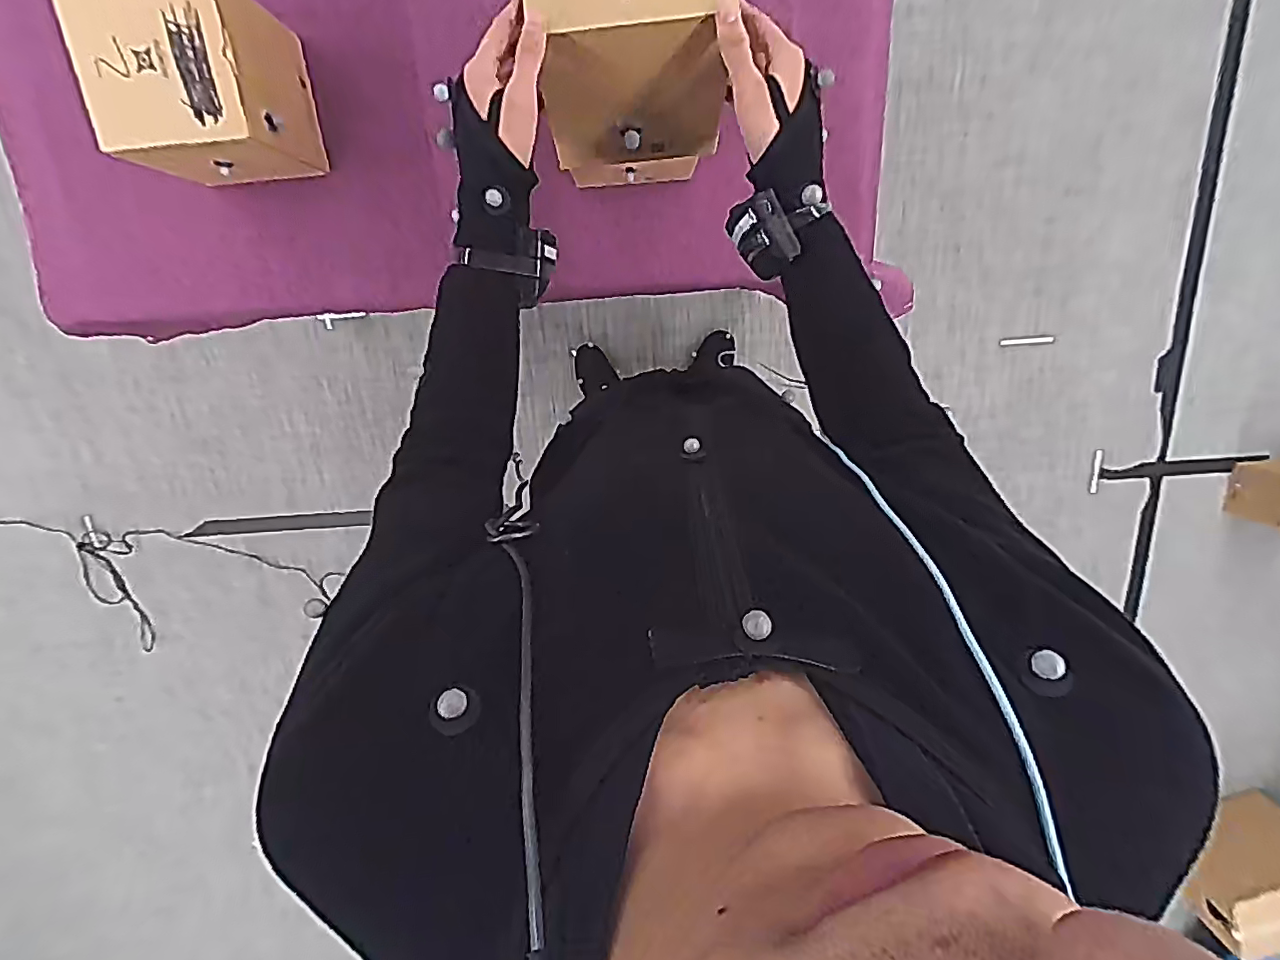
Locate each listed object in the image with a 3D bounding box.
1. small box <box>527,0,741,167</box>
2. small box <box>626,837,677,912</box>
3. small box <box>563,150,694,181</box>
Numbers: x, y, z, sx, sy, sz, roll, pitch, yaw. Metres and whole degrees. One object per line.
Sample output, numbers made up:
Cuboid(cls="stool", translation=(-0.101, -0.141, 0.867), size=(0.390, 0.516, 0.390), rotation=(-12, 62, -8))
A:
Cuboid(cls="small box", translation=(-0.010, -0.426, 0.496), size=(0.168, 0.176, 0.179), rotation=(-6, 88, 1))
Cuboid(cls="small box", translation=(0.039, 1.482, 2.039), size=(0.179, 0.176, 0.168), rotation=(2, 106, -3))
Cuboid(cls="small box", translation=(-0.013, -0.486, 0.675), size=(0.168, 0.176, 0.179), rotation=(-4, 107, 0))
